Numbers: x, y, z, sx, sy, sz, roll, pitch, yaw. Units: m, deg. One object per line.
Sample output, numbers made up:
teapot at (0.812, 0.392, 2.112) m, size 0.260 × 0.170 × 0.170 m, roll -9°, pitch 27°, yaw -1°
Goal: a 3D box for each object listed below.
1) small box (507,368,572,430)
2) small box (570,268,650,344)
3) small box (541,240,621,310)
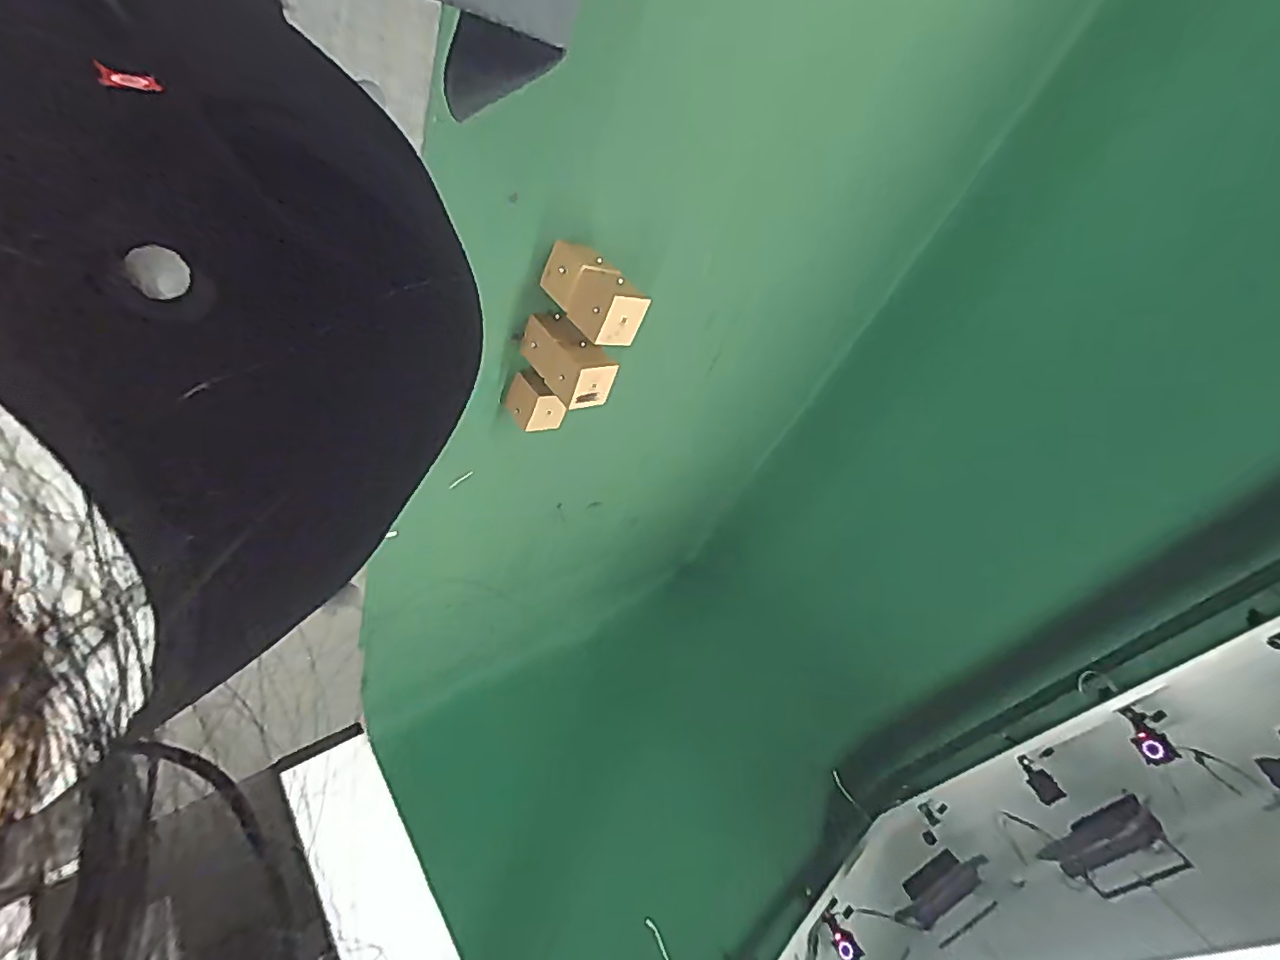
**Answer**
small box at (-0.400, -0.318, 2.129) m, size 0.168 × 0.176 × 0.179 m, roll -12°, pitch 142°, yaw -46°
small box at (-0.103, -0.565, 1.760) m, size 0.168 × 0.176 × 0.179 m, roll -12°, pitch 142°, yaw -46°
small box at (-0.204, -0.682, 1.819) m, size 0.179 × 0.176 × 0.168 m, roll -11°, pitch 142°, yaw -46°
